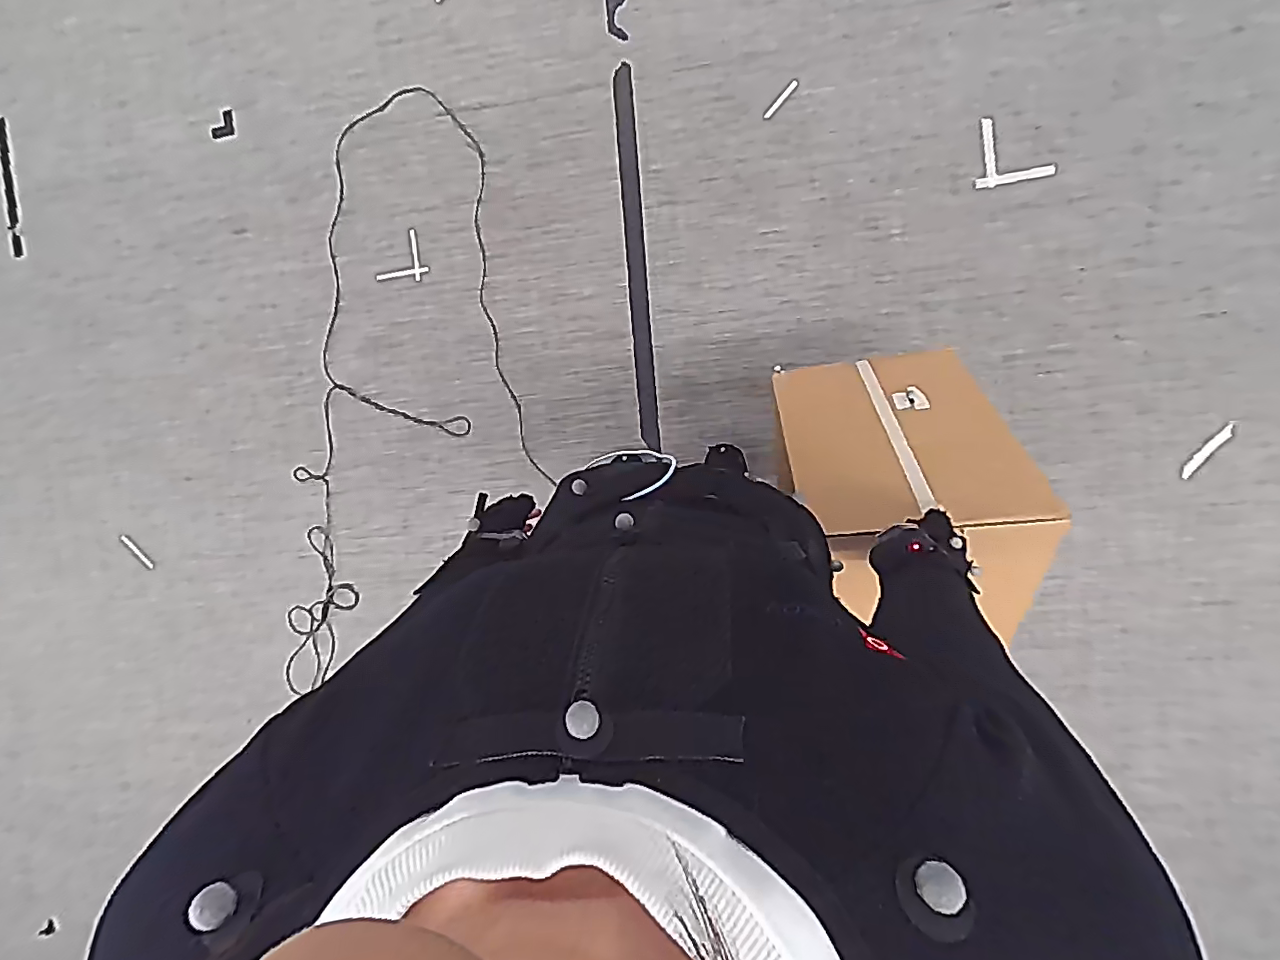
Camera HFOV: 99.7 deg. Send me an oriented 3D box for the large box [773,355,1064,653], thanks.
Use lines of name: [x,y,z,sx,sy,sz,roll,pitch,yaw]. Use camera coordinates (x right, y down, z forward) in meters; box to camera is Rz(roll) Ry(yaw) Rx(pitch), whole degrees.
large box: [0.416,0.036,0.932,0.320,0.408,0.320,-5,131,9]
